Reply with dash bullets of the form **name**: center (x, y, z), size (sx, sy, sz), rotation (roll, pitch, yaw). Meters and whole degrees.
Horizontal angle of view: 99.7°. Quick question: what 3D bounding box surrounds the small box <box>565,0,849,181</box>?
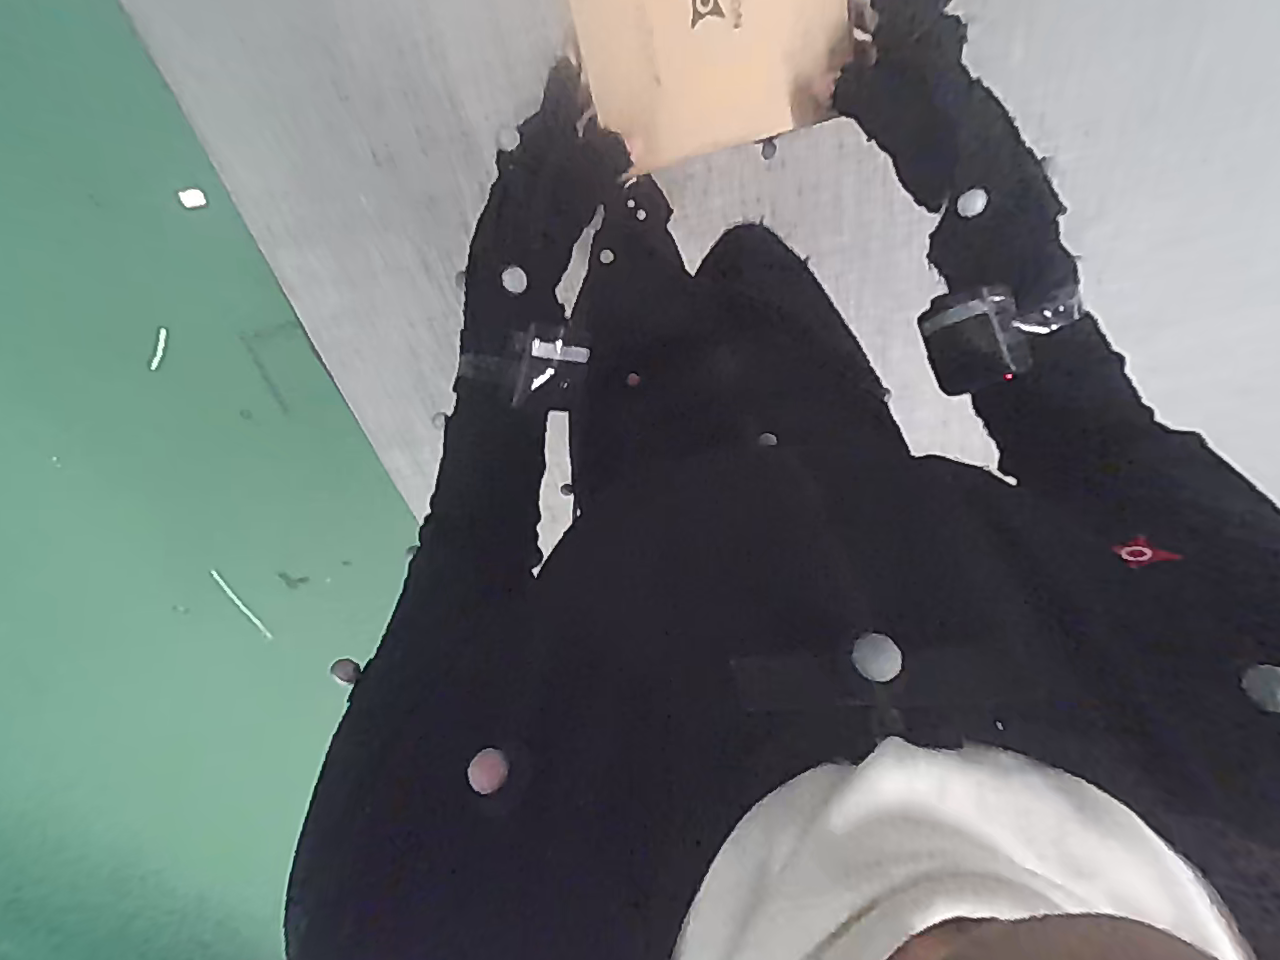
- **small box**: center (0.039, -0.344, 0.414), size (0.179, 0.176, 0.168), rotation (-14, 118, 6)
